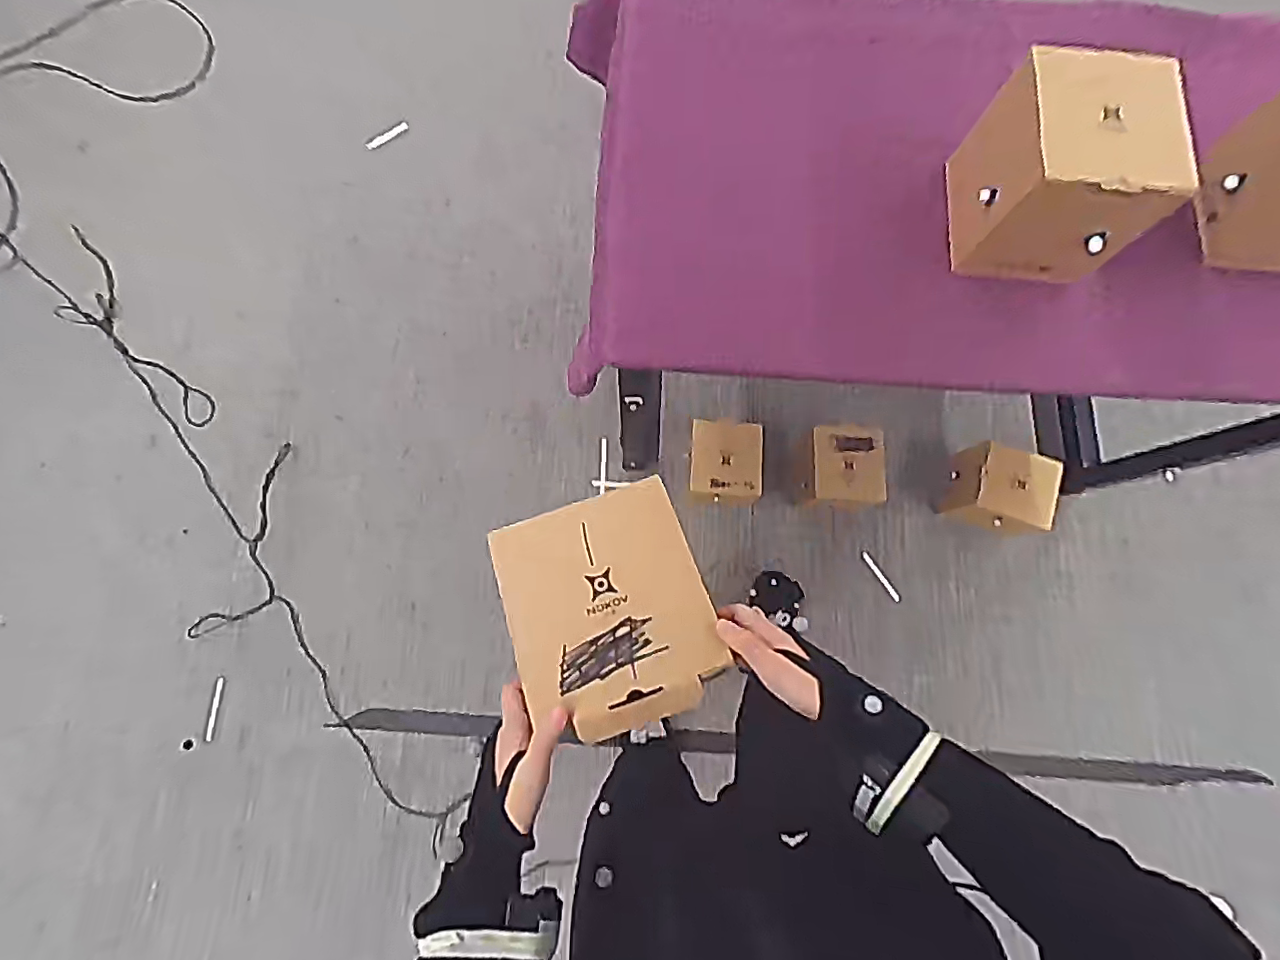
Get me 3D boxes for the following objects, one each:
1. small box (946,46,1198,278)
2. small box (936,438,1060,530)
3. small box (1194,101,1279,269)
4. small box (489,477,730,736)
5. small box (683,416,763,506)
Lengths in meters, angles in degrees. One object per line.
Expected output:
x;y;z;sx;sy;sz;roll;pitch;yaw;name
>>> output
0.498;-0.369;0.653;0.168;0.176;0.179;5;76;-1;small box
0.869;0.018;1.325;0.179;0.176;0.168;20;79;4;small box
0.847;-0.377;0.659;0.179;0.176;0.168;5;78;1;small box
-0.025;0.127;0.523;0.168;0.176;0.179;-19;66;-5;small box
0.198;-0.042;1.325;0.168;0.176;0.179;4;77;0;small box
